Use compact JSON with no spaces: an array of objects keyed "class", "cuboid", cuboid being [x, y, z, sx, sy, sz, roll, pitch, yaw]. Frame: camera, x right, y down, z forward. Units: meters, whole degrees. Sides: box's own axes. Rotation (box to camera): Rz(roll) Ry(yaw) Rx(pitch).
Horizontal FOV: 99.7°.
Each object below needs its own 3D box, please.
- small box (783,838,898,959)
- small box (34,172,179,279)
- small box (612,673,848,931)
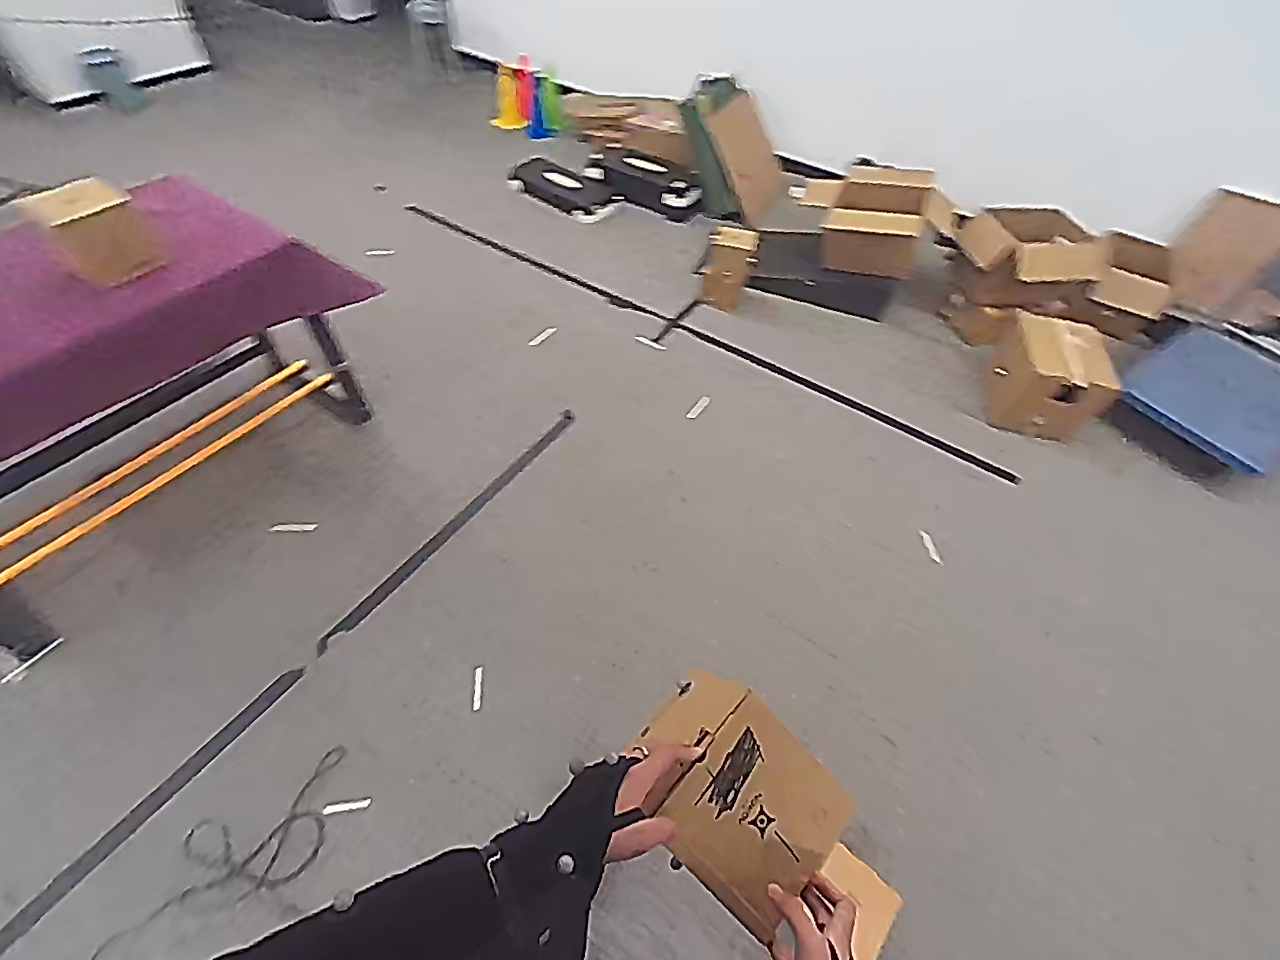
[{"class":"small box","cuboid":[0.449,0.969,1.241,0.168,0.176,0.179,37,58,21]},{"class":"small box","cuboid":[-1.327,-0.634,1.360,0.179,0.176,0.168,31,57,17]},{"class":"small box","cuboid":[0.090,0.346,0.628,0.168,0.176,0.179,-44,94,-18]}]
